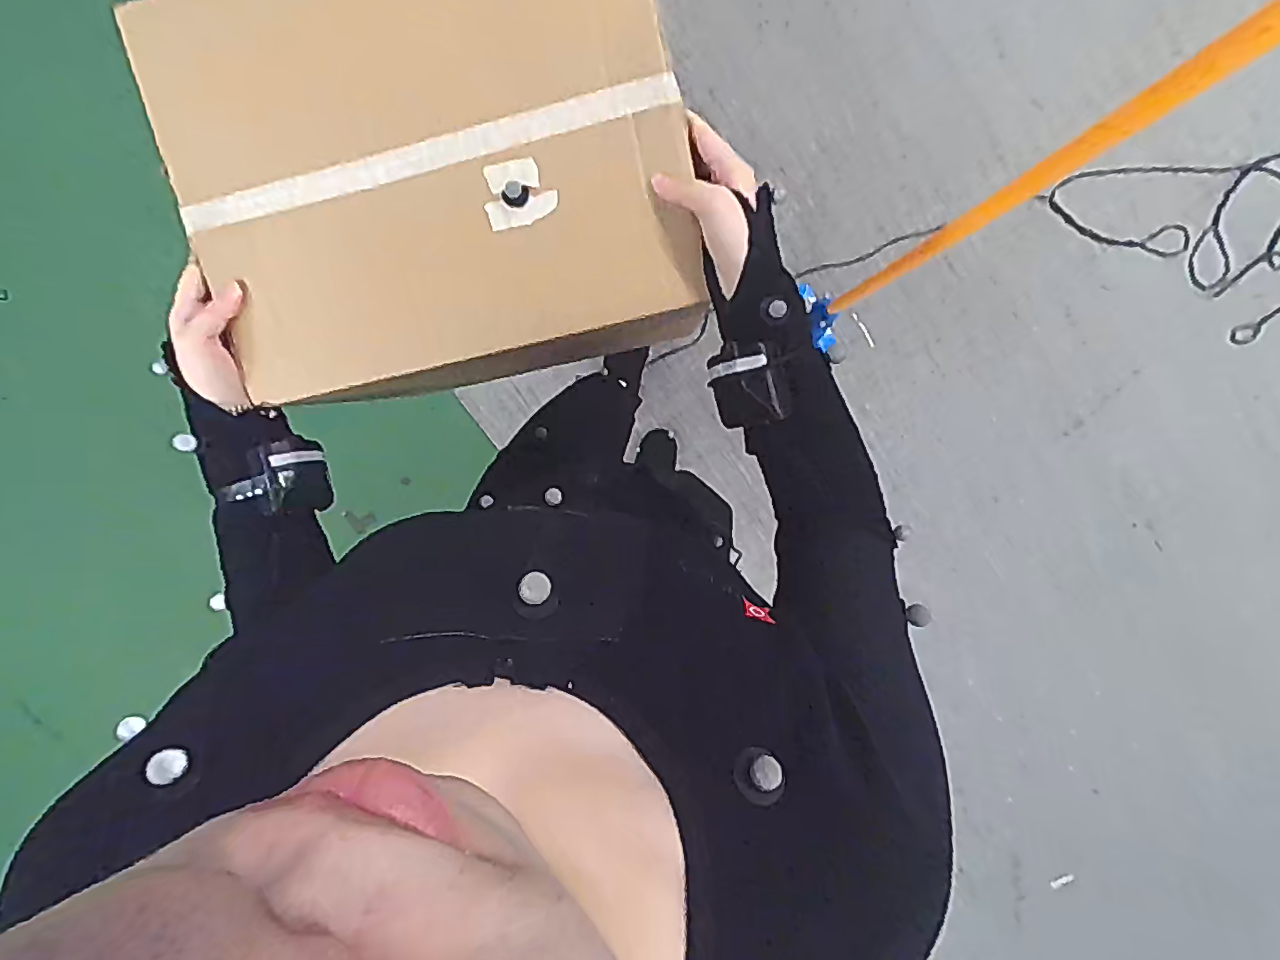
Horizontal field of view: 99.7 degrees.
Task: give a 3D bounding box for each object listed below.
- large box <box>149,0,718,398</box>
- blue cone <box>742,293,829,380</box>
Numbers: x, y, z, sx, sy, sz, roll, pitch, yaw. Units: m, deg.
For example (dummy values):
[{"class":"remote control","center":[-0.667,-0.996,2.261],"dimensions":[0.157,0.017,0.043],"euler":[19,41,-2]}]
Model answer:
[{"class":"large box","center":[-0.160,-0.285,0.581],"dimensions":[0.408,0.320,0.320],"euler":[-13,100,3]},{"class":"blue cone","center":[0.382,-0.362,1.275],"dimensions":[0.192,0.380,0.193],"euler":[-26,95,6]}]
